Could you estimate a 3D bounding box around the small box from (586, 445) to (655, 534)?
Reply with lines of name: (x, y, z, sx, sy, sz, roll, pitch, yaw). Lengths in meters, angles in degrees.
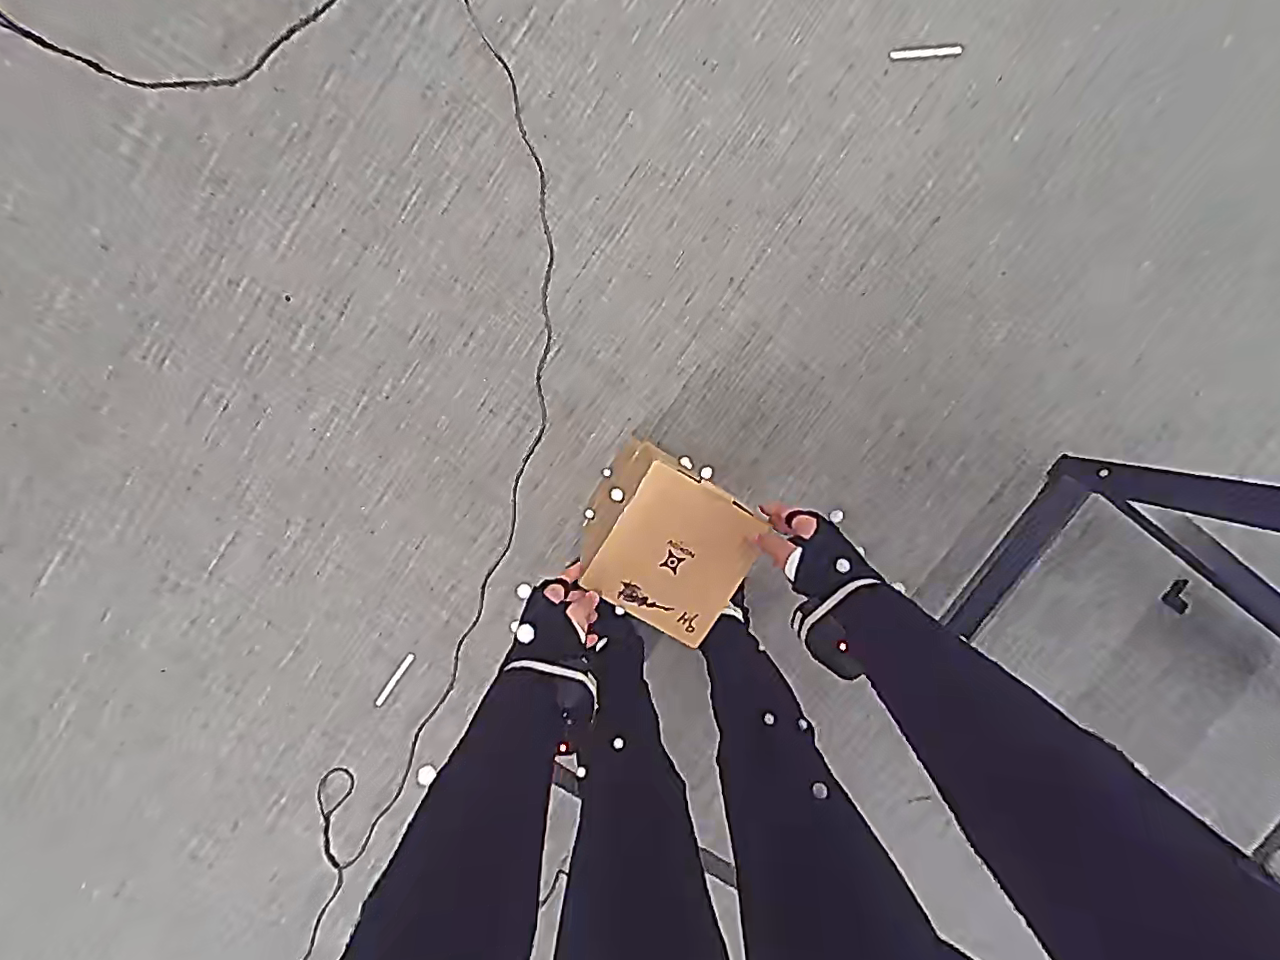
small box: (0.010, 0.047, 1.027, 0.168, 0.176, 0.179, 31, 96, -7)

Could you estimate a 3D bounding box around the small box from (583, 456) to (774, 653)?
small box: (0.038, 0.082, 0.702, 0.168, 0.176, 0.179, 31, 95, -7)

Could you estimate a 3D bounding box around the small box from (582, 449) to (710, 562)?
small box: (0.021, 0.065, 0.866, 0.168, 0.176, 0.179, 27, 95, -8)
